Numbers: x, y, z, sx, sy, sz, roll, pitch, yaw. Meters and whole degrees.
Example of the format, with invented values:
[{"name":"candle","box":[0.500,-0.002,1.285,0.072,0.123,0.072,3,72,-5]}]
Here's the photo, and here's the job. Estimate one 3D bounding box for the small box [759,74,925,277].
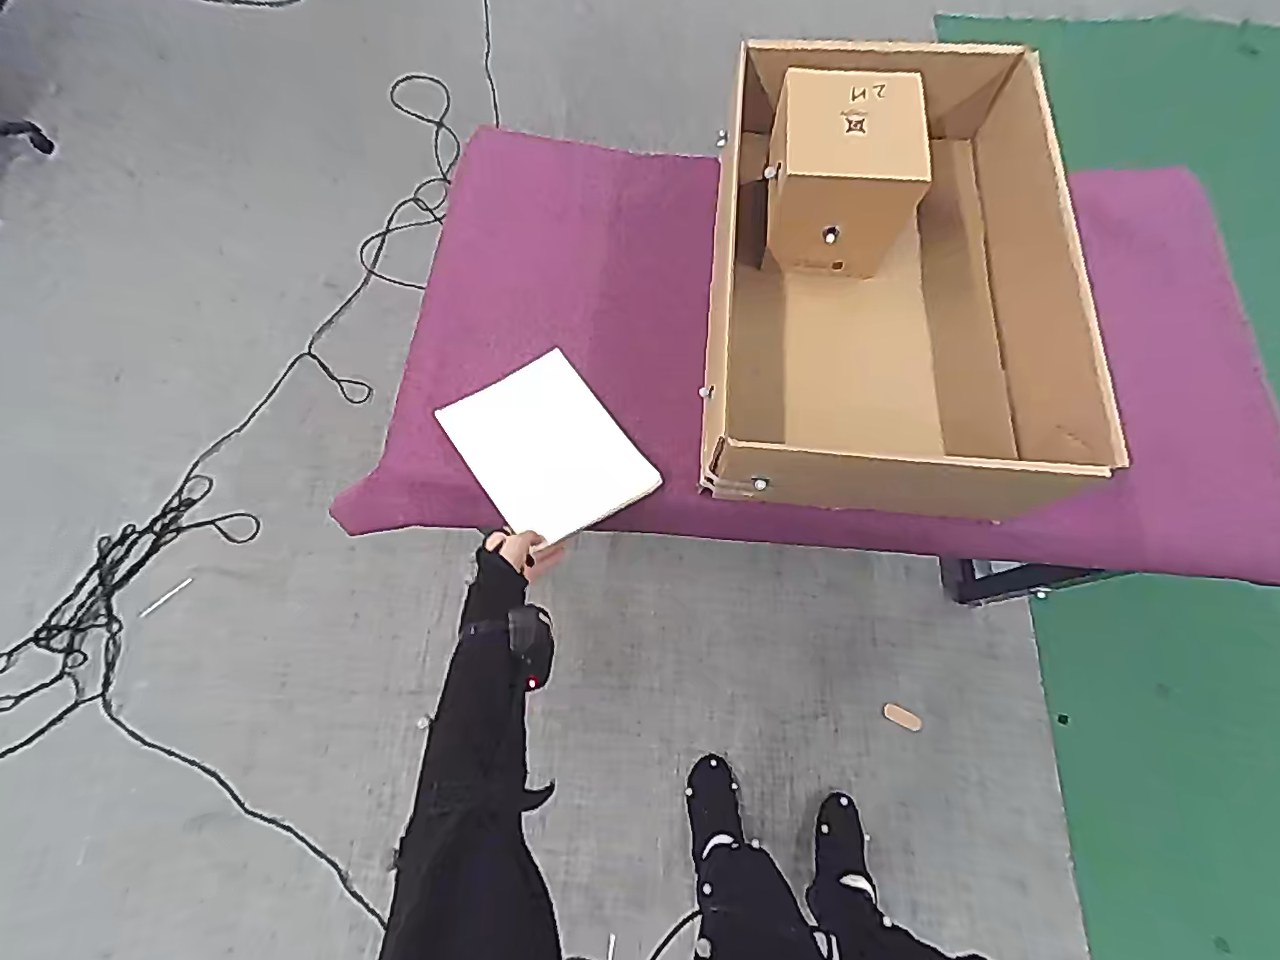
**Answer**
[{"name":"small box","box":[0.257,-0.397,0.724,0.168,0.176,0.179,5,71,3]}]
